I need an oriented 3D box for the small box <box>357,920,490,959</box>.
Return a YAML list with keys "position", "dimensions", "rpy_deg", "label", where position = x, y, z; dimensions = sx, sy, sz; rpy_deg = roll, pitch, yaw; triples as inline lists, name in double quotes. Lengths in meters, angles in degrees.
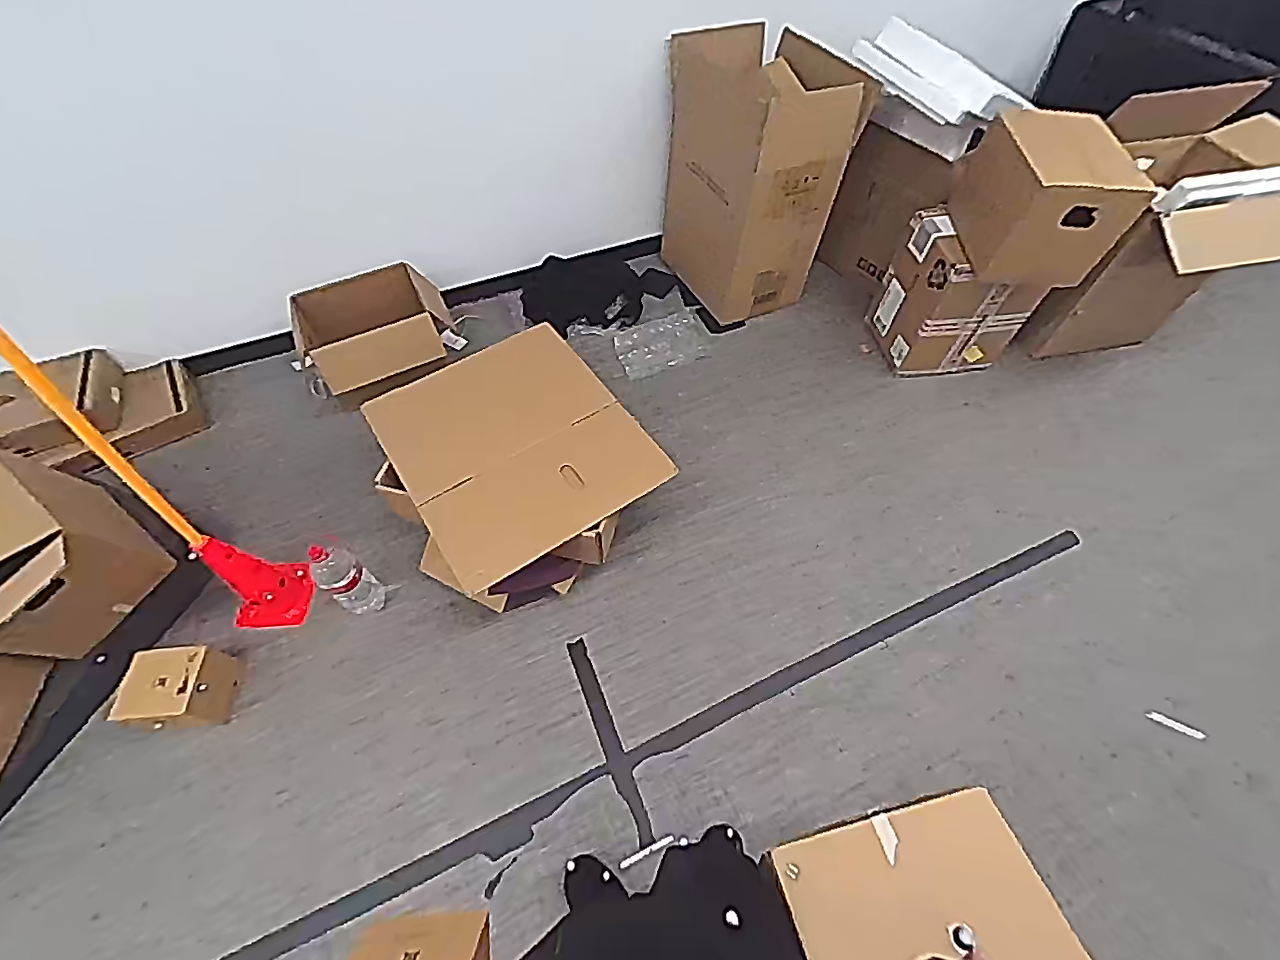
- position: [-0.287, 0.706, 0.677]
  dimensions: [0.168, 0.179, 0.176]
  rpy_deg: [-2, 83, -2]
  label: "small box"
